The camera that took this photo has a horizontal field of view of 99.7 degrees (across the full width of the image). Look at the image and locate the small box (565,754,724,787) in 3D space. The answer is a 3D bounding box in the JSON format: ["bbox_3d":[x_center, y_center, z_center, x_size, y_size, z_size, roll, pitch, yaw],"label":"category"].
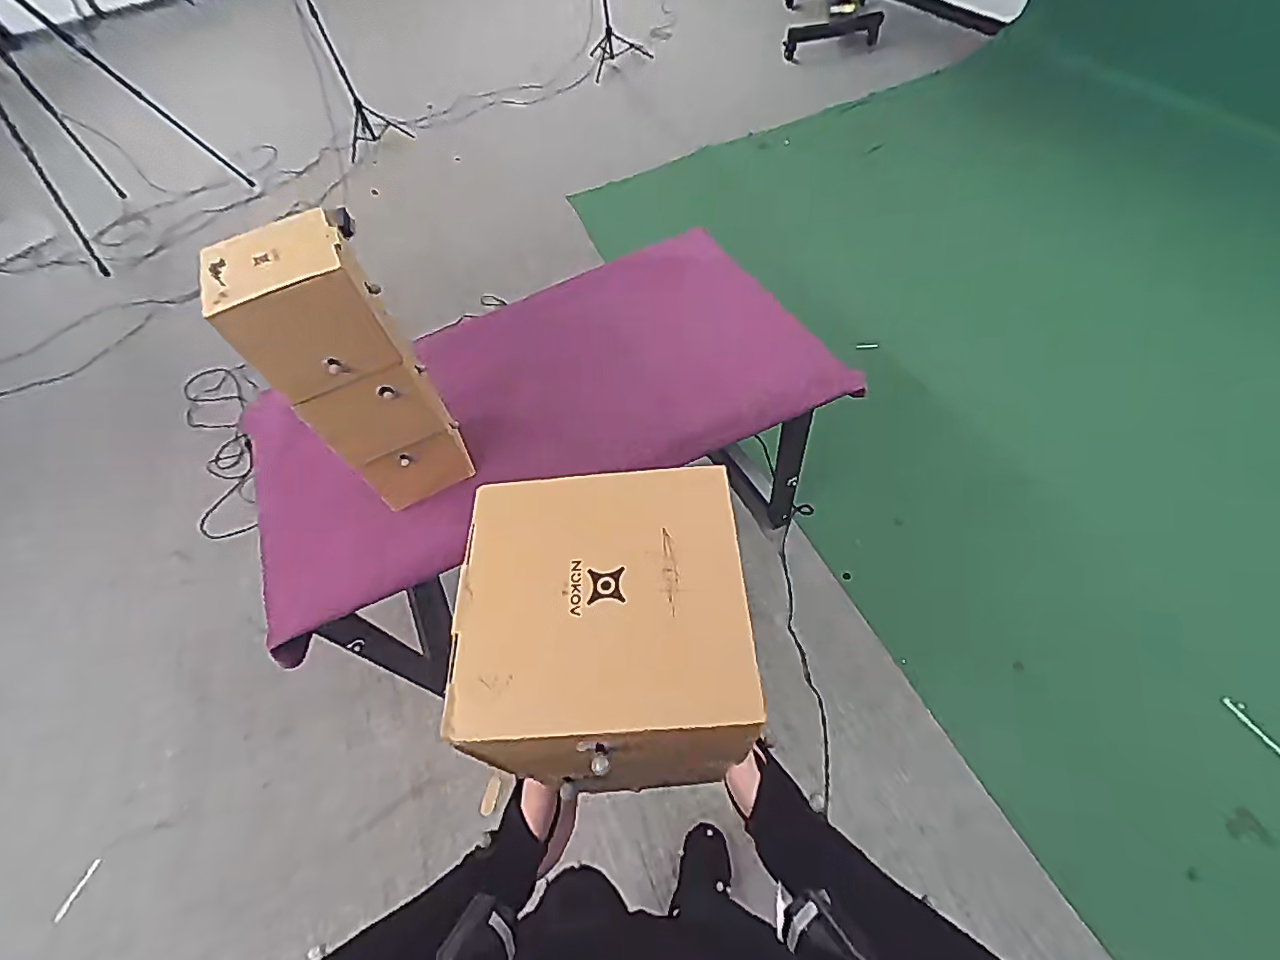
[{"bbox_3d":[0.009,0.281,0.680,0.179,0.176,0.168,-6,55,2],"label":"small box"}]

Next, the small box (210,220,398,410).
[{"bbox_3d":[-0.475,-0.235,0.786,0.179,0.176,0.168,-25,57,-9],"label":"small box"}]

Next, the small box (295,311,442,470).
[{"bbox_3d":[-0.458,-0.149,0.924,0.179,0.176,0.168,-25,57,-8],"label":"small box"}]

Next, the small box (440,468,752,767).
[{"bbox_3d":[-0.018,0.110,0.401,0.179,0.176,0.168,-4,56,4],"label":"small box"}]

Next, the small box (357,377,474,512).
[{"bbox_3d":[-0.447,-0.069,1.069,0.179,0.176,0.168,-27,58,-9],"label":"small box"}]
